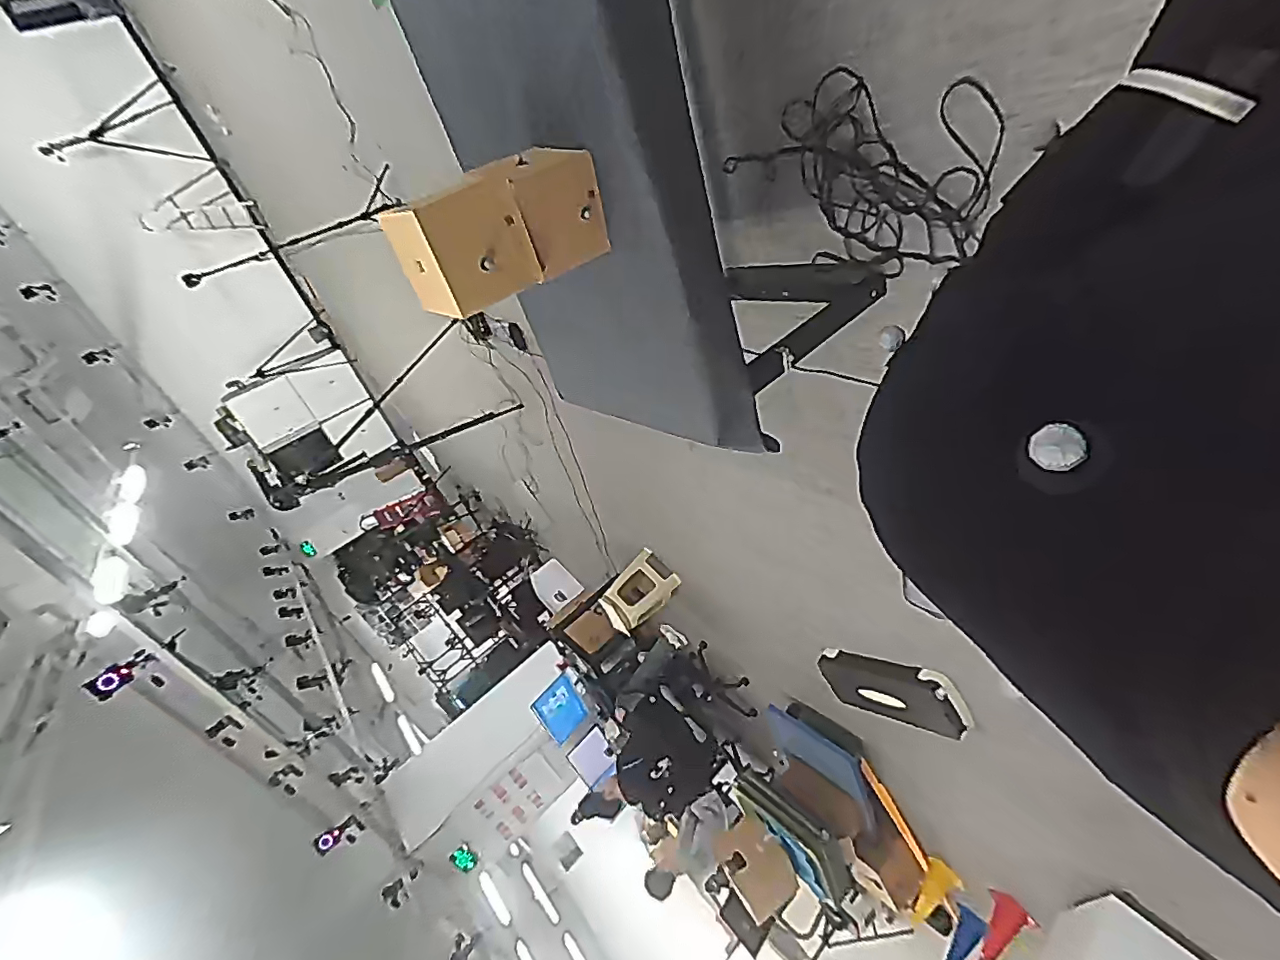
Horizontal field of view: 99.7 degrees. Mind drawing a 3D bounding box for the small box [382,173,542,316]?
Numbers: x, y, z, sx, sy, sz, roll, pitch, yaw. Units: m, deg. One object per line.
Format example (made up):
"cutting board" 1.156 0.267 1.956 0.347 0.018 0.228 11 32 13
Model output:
"small box" -0.285 -0.392 0.900 0.179 0.176 0.168 25 145 45
